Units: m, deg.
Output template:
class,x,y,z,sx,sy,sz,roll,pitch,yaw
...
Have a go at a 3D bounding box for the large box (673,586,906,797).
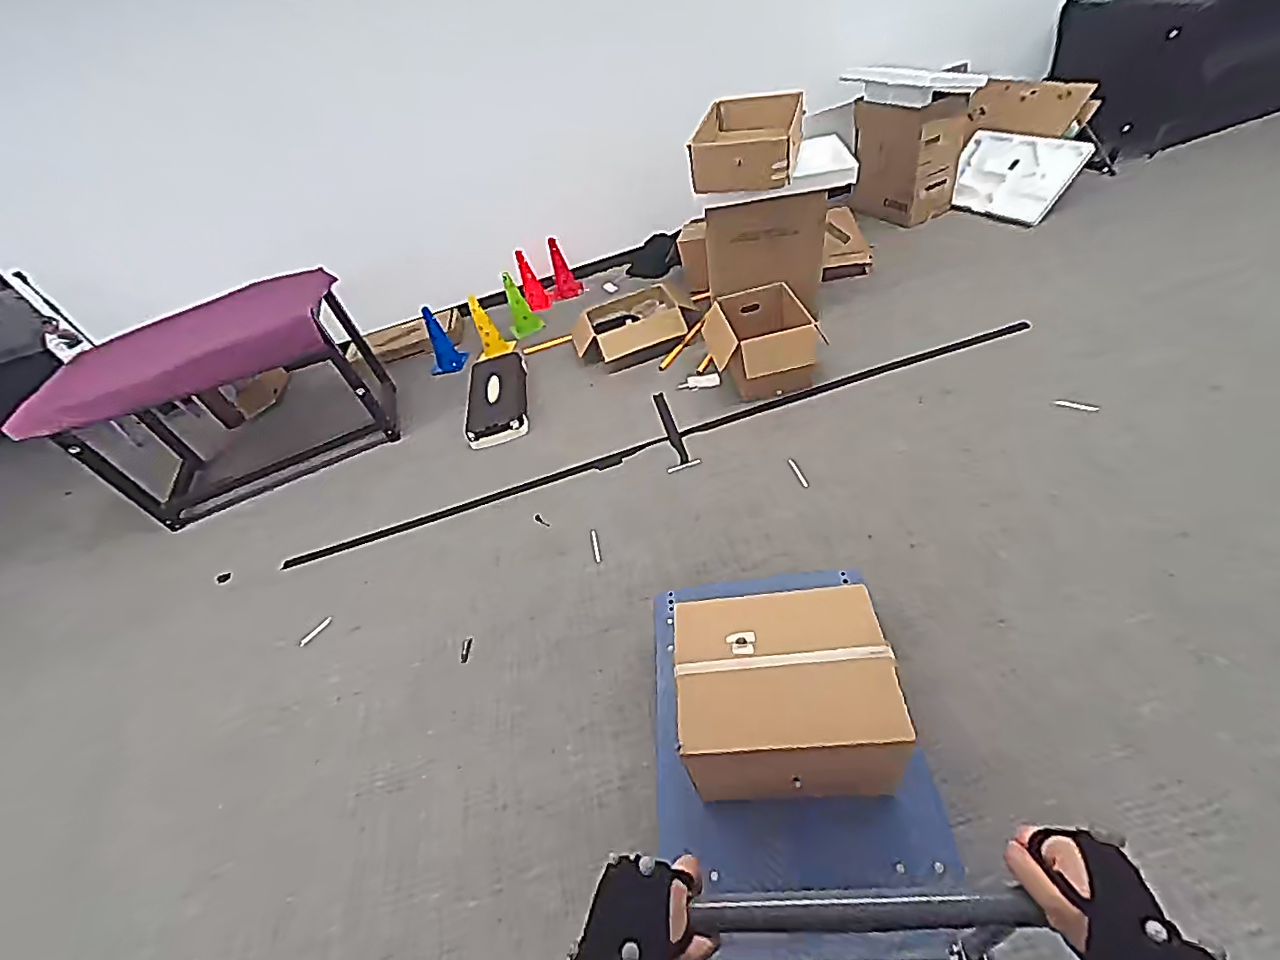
class,x,y,z,sx,sy,sz,roll,pitch,yaw
large box,0.302,0.465,1.167,0.408,0.320,0.320,-9,43,10
